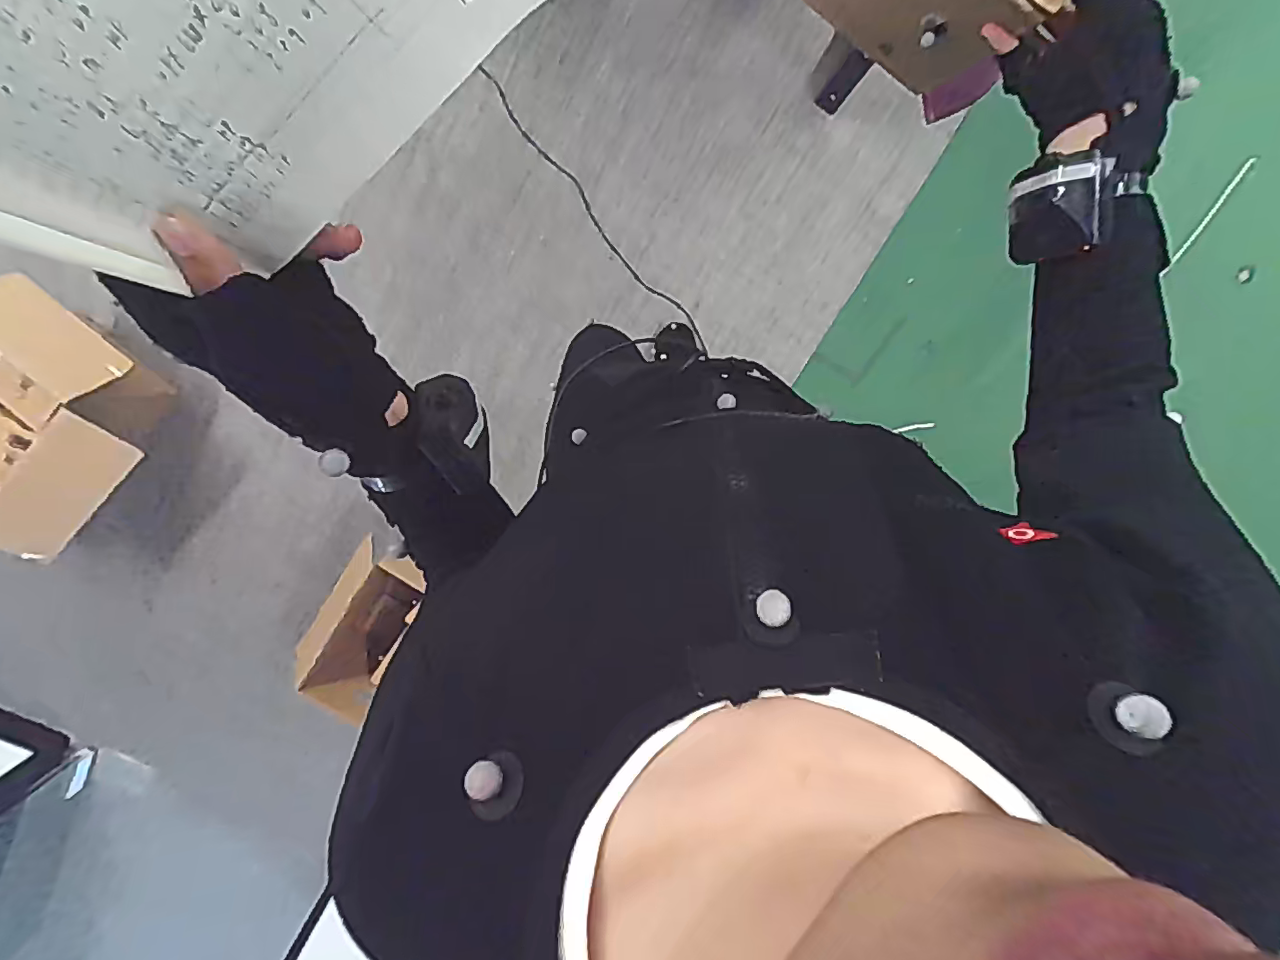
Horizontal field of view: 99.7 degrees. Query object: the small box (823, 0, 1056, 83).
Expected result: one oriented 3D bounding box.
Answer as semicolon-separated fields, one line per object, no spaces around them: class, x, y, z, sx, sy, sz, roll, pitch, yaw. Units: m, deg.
small box;0.255;-0.461;0.418;0.168;0.176;0.179;28;105;-14
